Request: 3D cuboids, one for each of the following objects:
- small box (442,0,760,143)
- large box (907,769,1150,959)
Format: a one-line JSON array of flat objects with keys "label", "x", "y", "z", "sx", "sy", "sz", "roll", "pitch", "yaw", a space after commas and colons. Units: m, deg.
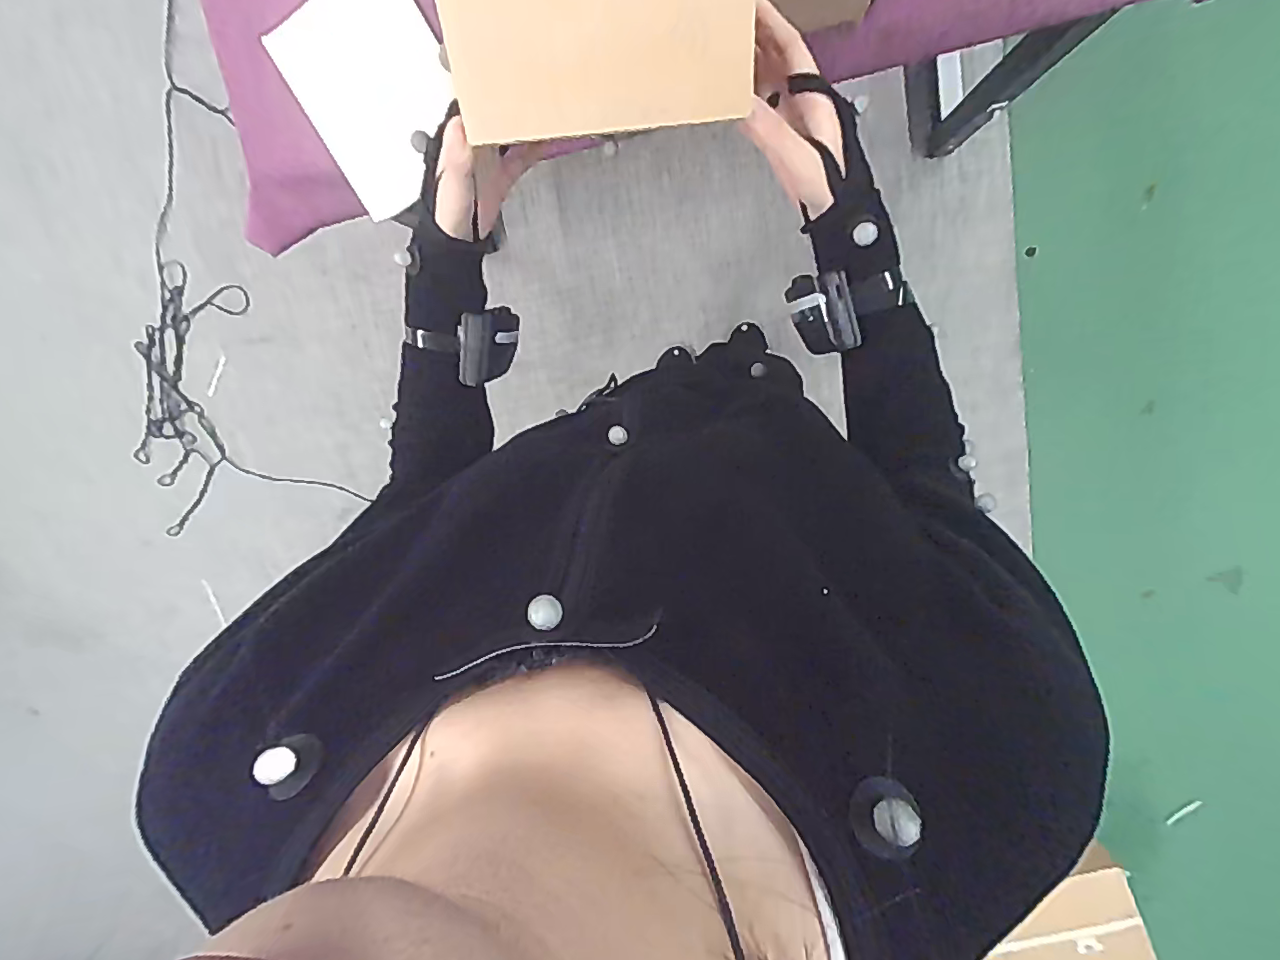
[{"label": "small box", "x": -0.020, "y": -0.314, "z": 0.324, "sx": 0.168, "sy": 0.176, "sz": 0.179, "roll": -3, "pitch": 123, "yaw": 3}, {"label": "large box", "x": 1.038, "y": 1.084, "z": 1.496, "sx": 0.408, "sy": 0.320, "sz": 0.320, "roll": -24, "pitch": 100, "yaw": 11}]
